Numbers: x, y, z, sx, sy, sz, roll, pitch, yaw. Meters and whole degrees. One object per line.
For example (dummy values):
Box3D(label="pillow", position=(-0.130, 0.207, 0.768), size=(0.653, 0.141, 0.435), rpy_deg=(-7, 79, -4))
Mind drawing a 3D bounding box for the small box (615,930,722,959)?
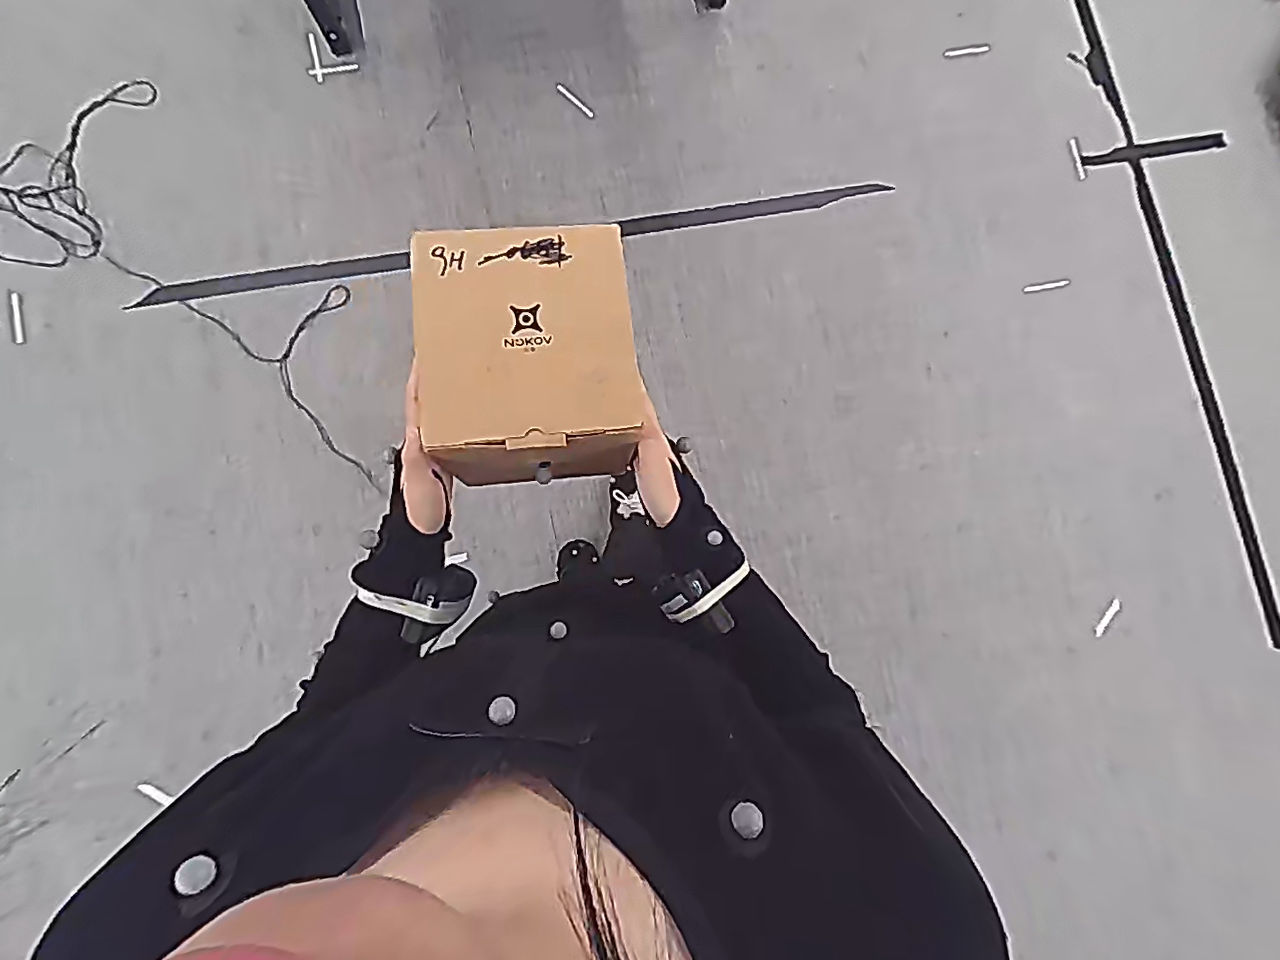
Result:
Box3D(label="small box", position=(0.058, 0.781, 0.739), size=(0.168, 0.176, 0.179), rpy_deg=(-12, 84, -5))

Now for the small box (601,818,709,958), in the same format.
Box3D(label="small box", position=(0.023, 0.805, 1.064), size=(0.179, 0.176, 0.168), rpy_deg=(-13, 84, -5))

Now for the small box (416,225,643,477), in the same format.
Box3D(label="small box", position=(-0.092, -0.101, 0.494), size=(0.168, 0.176, 0.179), rpy_deg=(-6, 81, -7))
